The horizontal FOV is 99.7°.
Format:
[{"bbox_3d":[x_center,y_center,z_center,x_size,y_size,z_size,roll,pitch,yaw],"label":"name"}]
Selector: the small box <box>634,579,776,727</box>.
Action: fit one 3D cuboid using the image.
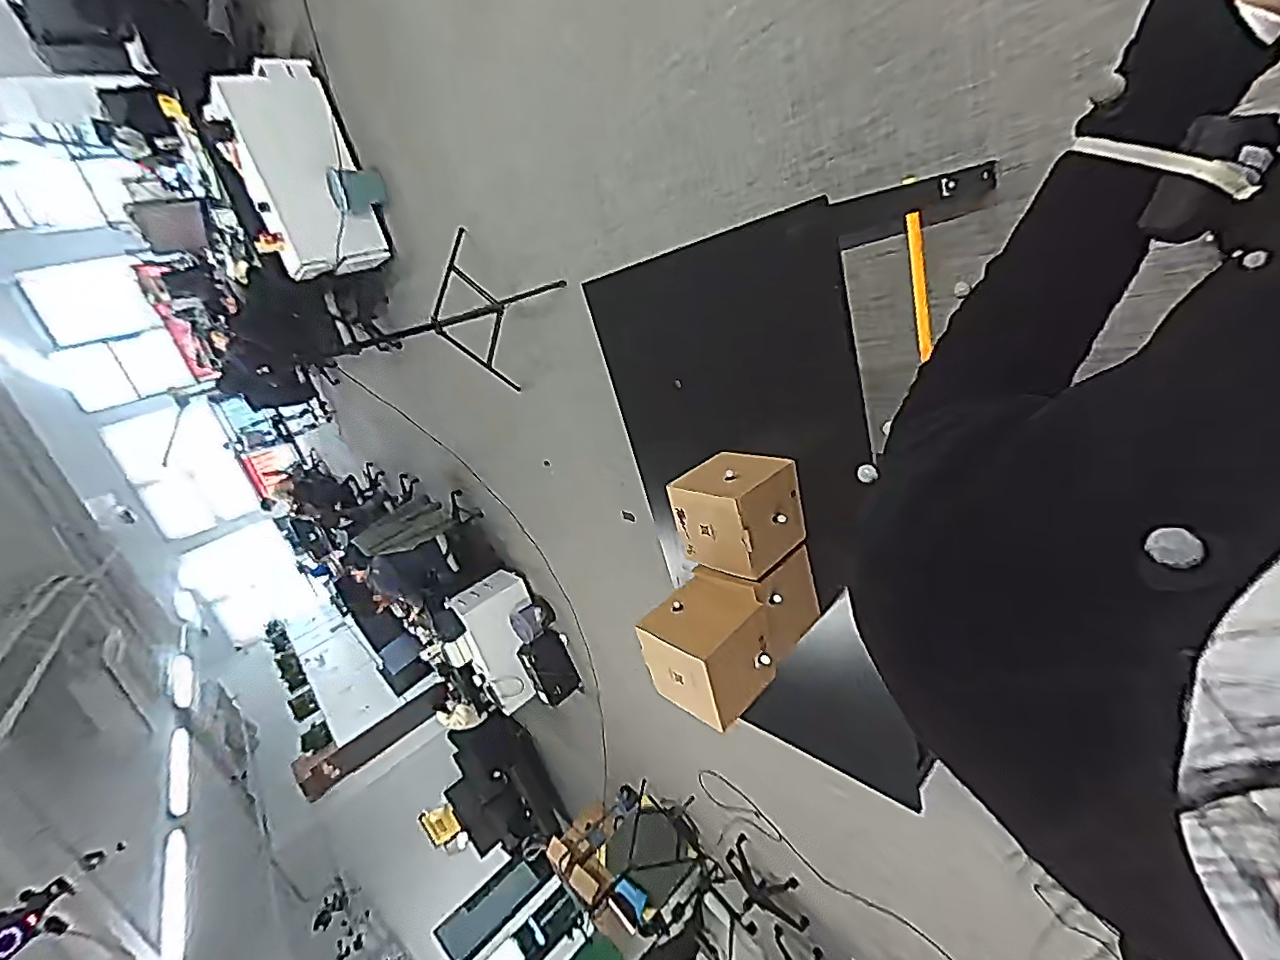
[{"bbox_3d":[0.122,0.305,0.997,0.179,0.176,0.168,11,124,48],"label":"small box"}]
